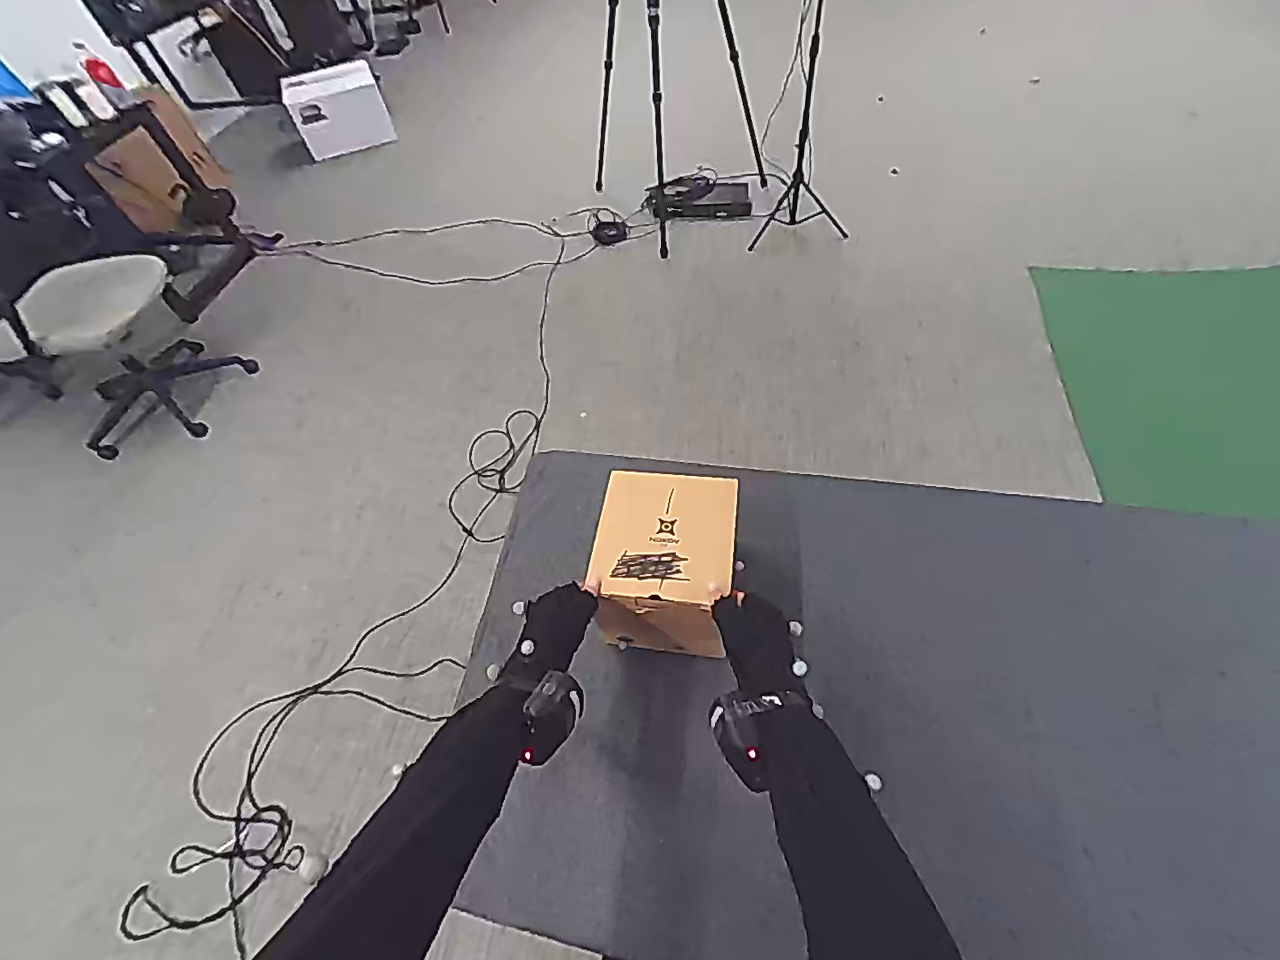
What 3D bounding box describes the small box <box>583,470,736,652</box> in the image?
[{"bbox_3d":[0.036,0.110,0.708,0.168,0.176,0.179,4,54,10],"label":"small box"}]
